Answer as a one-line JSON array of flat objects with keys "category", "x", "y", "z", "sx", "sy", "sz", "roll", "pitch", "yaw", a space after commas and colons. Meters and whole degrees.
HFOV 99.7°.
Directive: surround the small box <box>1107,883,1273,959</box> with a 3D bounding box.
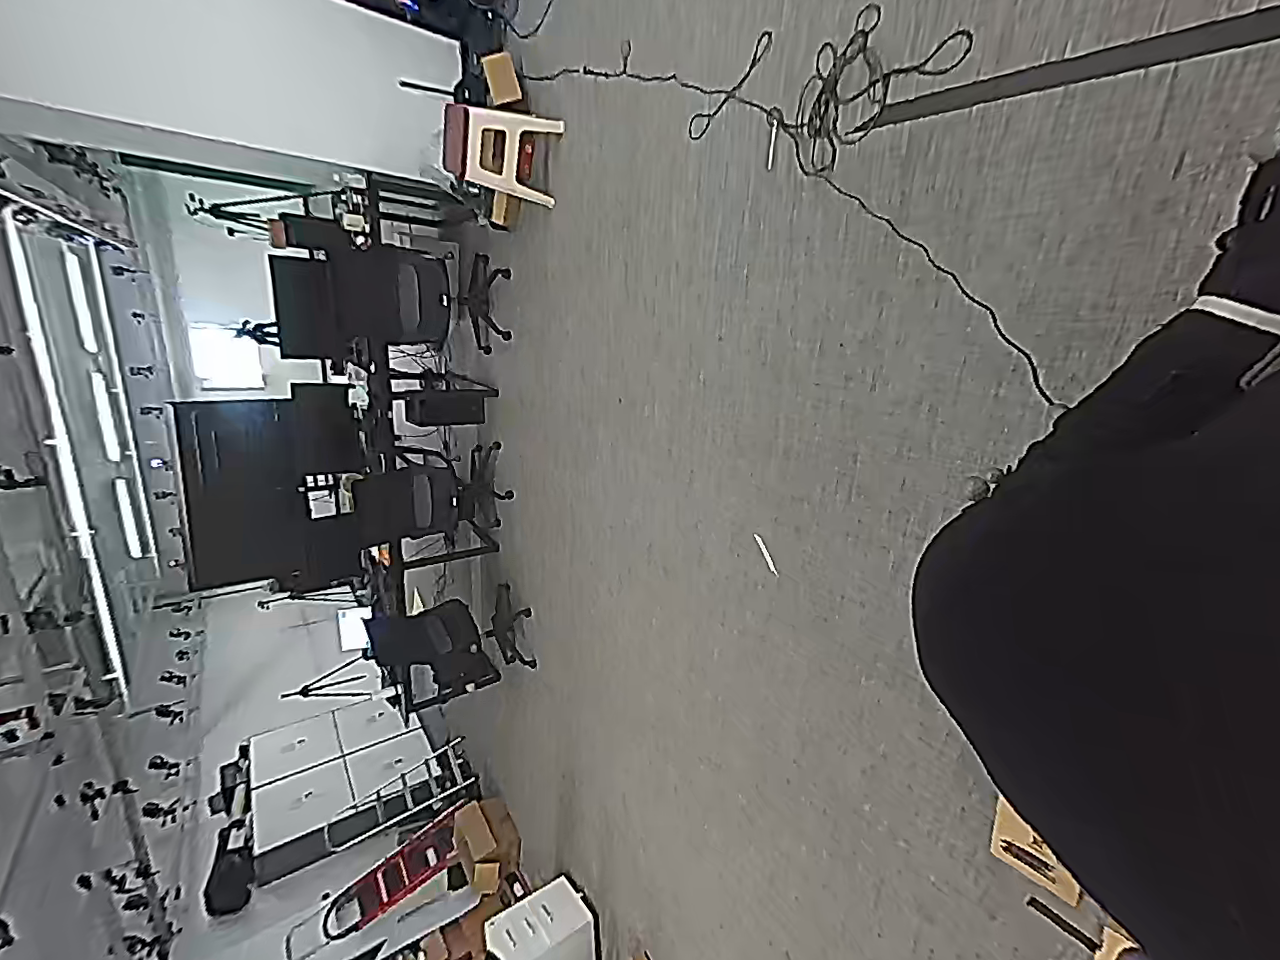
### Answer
[{"category": "small box", "x": 0.935, "y": 0.855, "z": 0.928, "sx": 0.179, "sy": 0.176, "sz": 0.168, "roll": 18, "pitch": 112, "yaw": 53}]
